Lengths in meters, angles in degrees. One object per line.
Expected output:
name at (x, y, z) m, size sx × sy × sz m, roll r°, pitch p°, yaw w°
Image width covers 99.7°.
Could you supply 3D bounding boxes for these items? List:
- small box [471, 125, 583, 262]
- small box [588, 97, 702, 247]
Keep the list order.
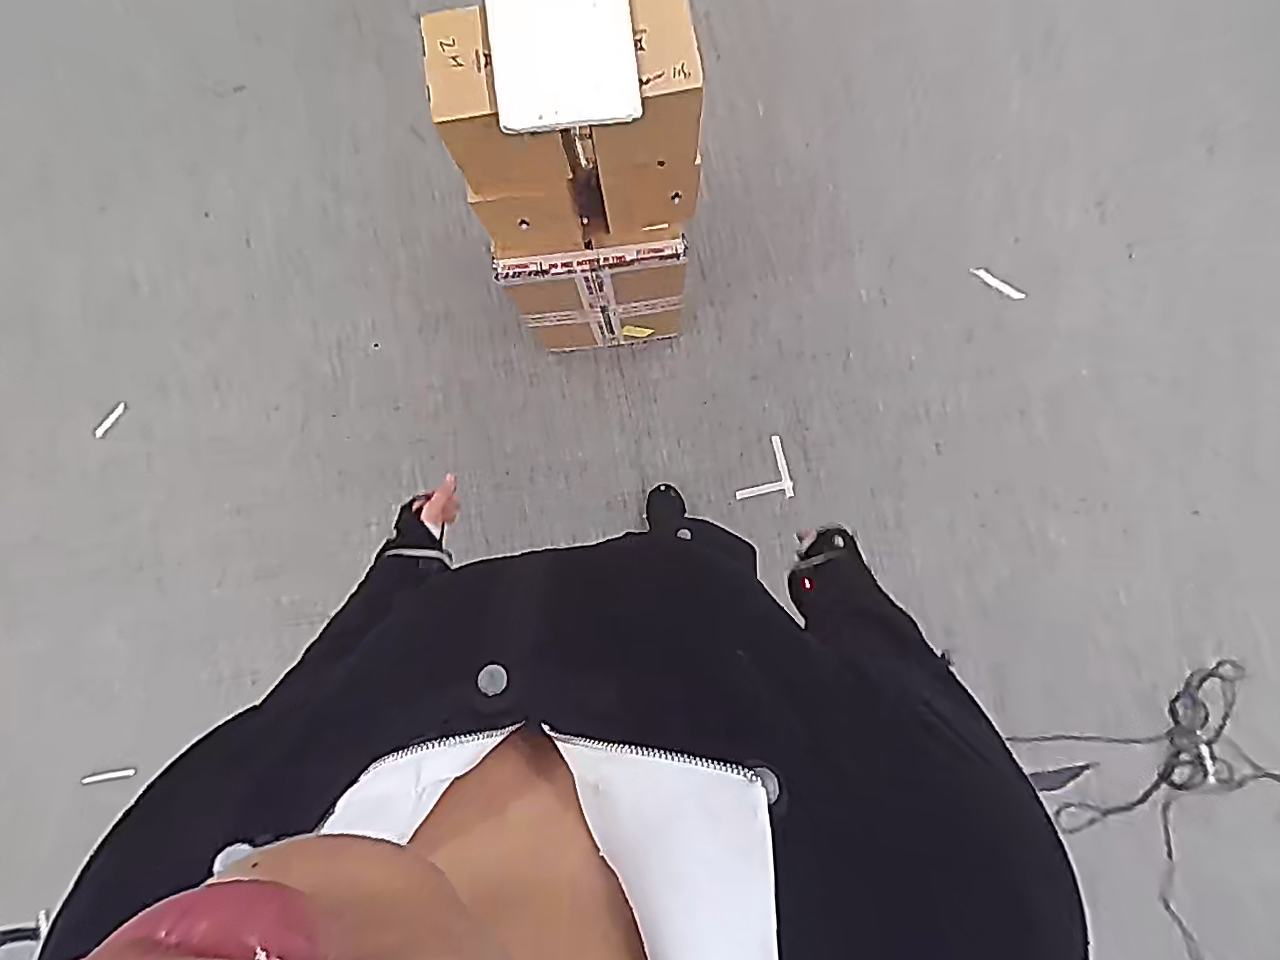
small box at (-0.203, -0.531, 1.022) m, size 0.179 × 0.176 × 0.168 m, roll -3°, pitch 87°, yaw 3°
small box at (0.010, -0.566, 1.016) m, size 0.179 × 0.176 × 0.168 m, roll -11°, pitch 85°, yaw 1°
